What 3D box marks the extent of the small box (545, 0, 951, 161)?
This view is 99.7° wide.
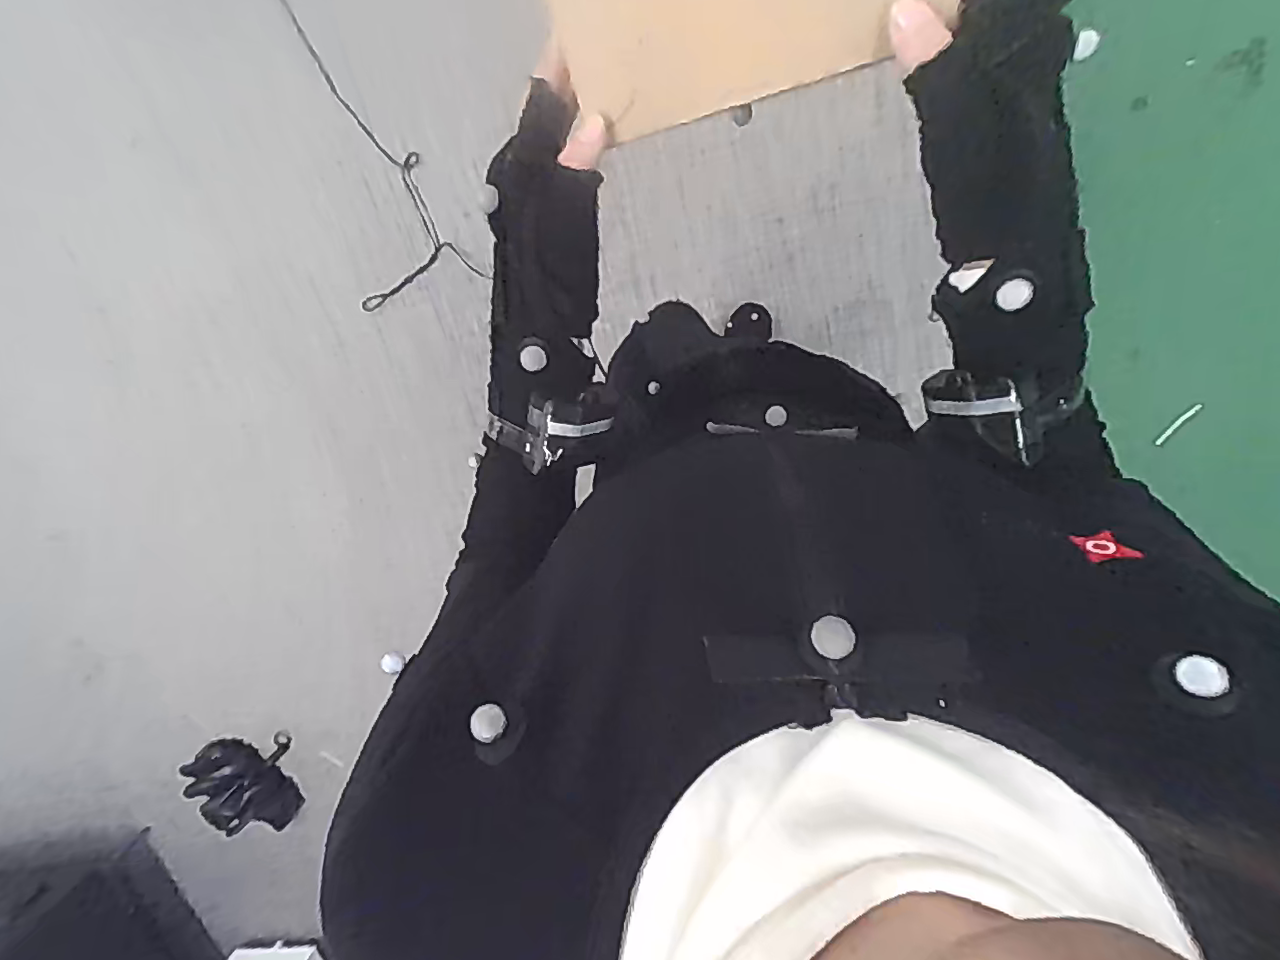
[{"bbox_3d":[0.044,-0.295,0.280,0.179,0.176,0.168,-8,128,16],"label":"small box"}]
